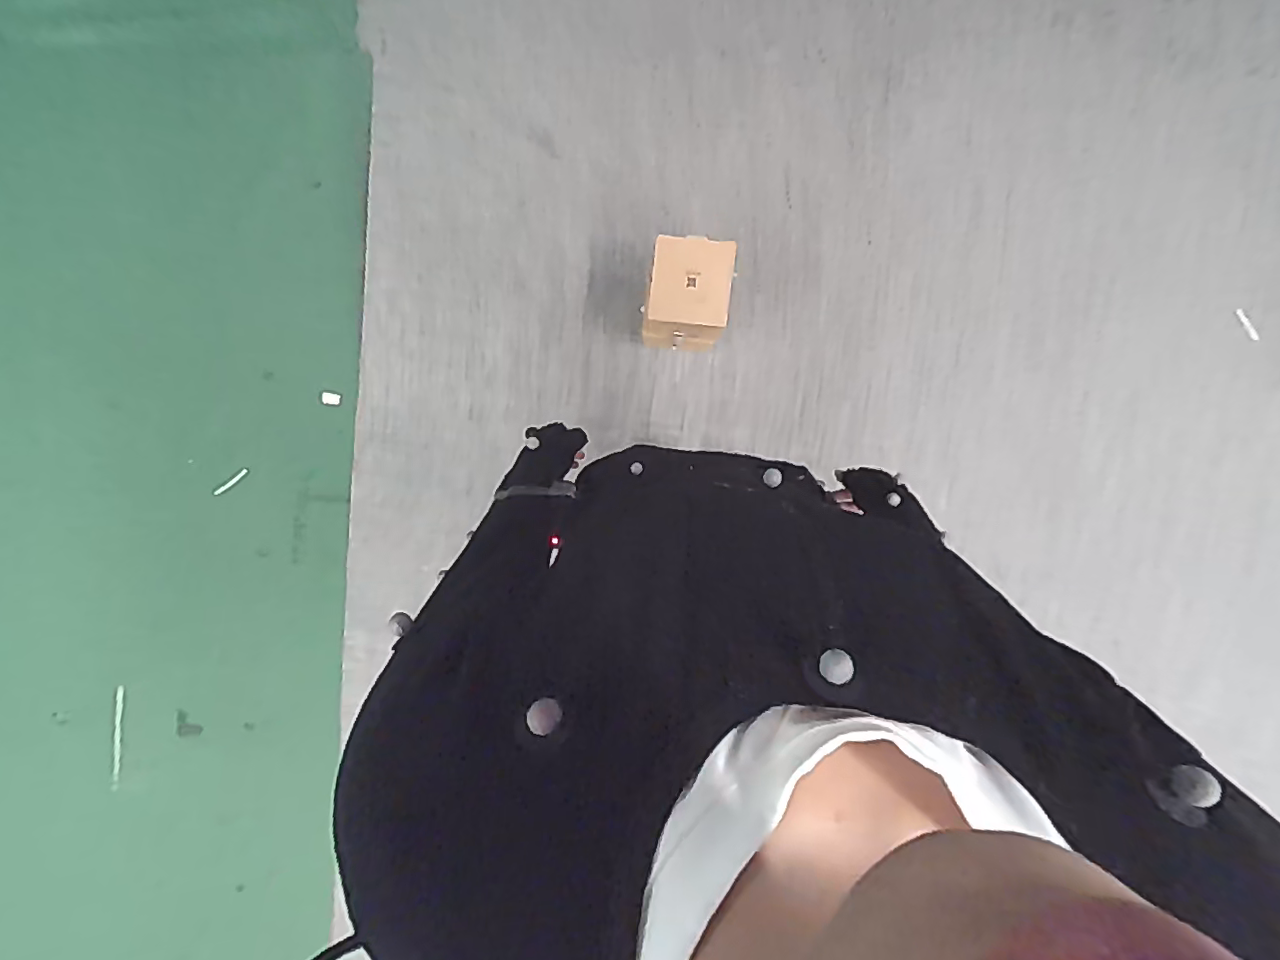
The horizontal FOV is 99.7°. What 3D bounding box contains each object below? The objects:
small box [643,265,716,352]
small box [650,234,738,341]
[{"bbox_3d":[0.107,-0.422,1.356,0.179,0.176,0.168,7,94,3],"label":"small box"},{"bbox_3d":[0.115,-0.418,1.195,0.168,0.176,0.179,6,95,4],"label":"small box"}]
